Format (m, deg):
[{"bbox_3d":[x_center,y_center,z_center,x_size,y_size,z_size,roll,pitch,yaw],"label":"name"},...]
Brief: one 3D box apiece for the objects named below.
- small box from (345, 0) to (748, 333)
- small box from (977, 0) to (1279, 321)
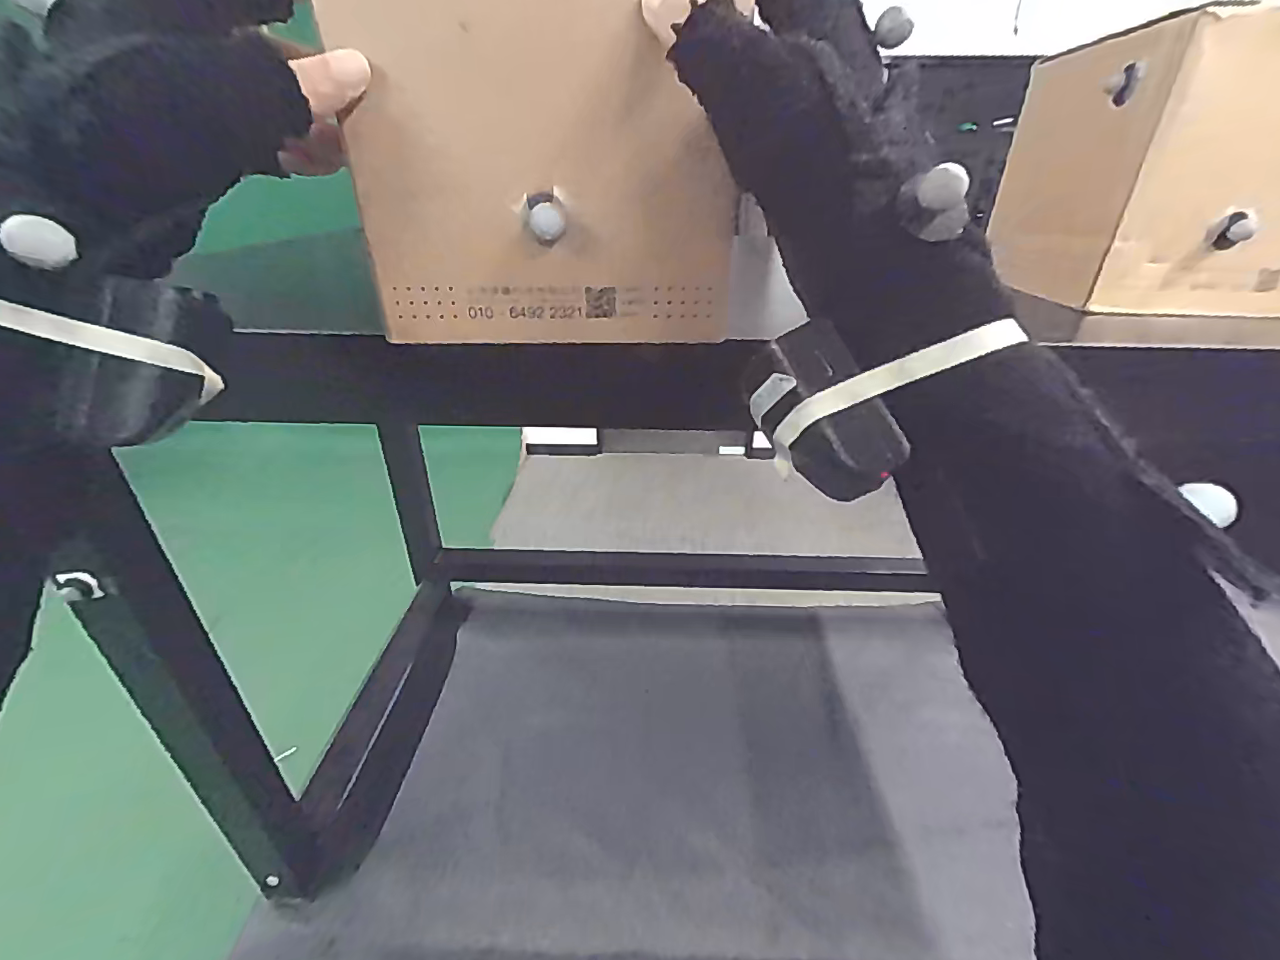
[{"bbox_3d":[-0.043,-0.189,0.305,0.168,0.176,0.179,-1,30,-3],"label":"small box"},{"bbox_3d":[0.391,-0.226,0.405,0.168,0.176,0.179,3,29,5],"label":"small box"}]
